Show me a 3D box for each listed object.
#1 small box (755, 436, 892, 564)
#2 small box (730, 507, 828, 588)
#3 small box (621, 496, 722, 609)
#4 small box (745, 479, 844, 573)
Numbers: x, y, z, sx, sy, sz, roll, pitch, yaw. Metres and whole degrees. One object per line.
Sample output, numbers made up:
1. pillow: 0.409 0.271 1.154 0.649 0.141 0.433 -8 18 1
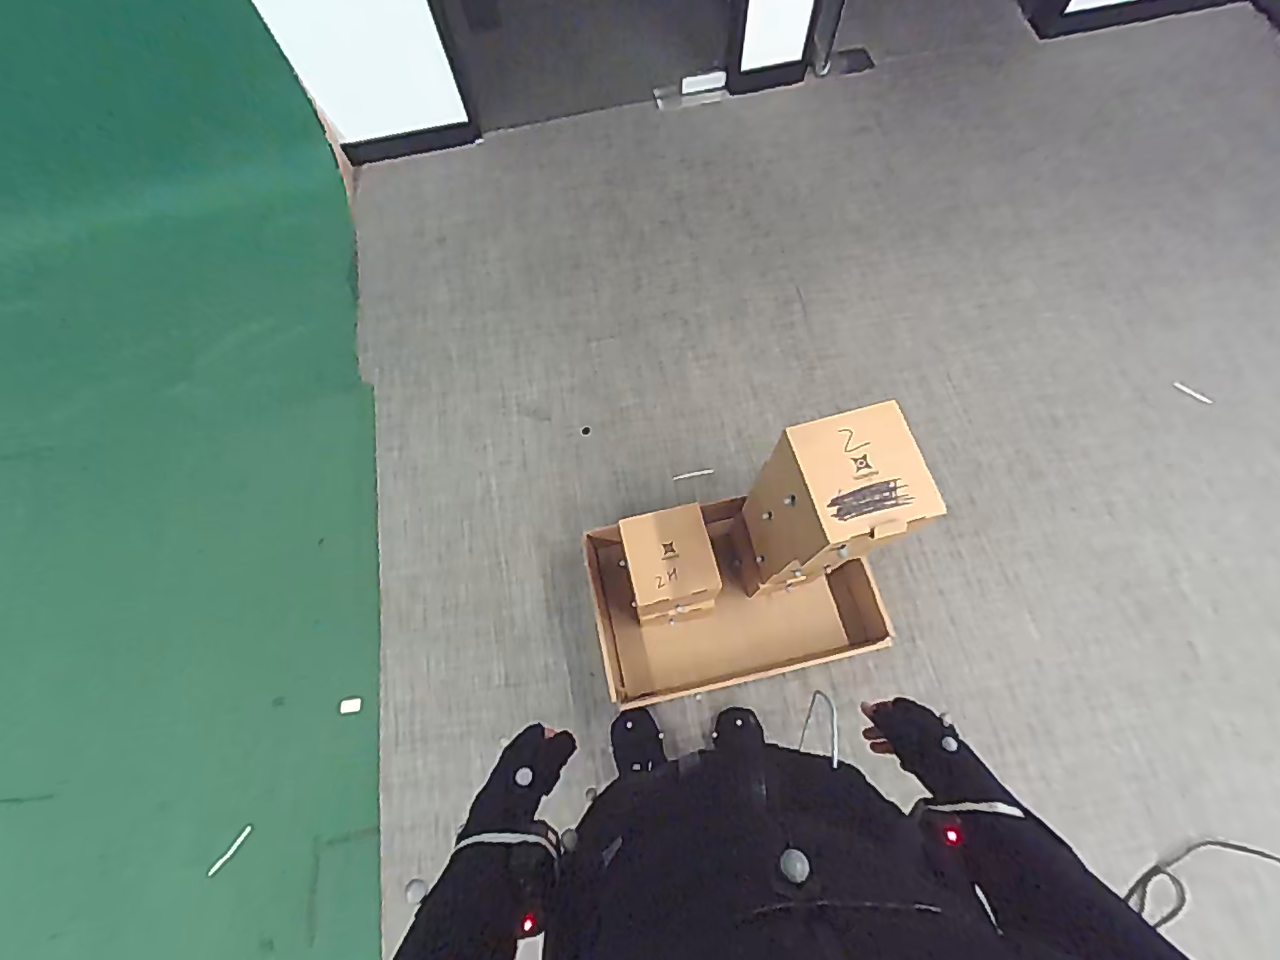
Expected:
1. small box: 0.314 0.046 0.967 0.168 0.176 0.179 -12 71 -2
2. small box: 0.319 0.150 1.278 0.168 0.176 0.179 -17 71 -1
3. small box: 0.059 0.154 1.112 0.168 0.176 0.179 -13 70 -3
4. small box: 0.323 0.087 1.108 0.168 0.176 0.179 -13 71 -1
